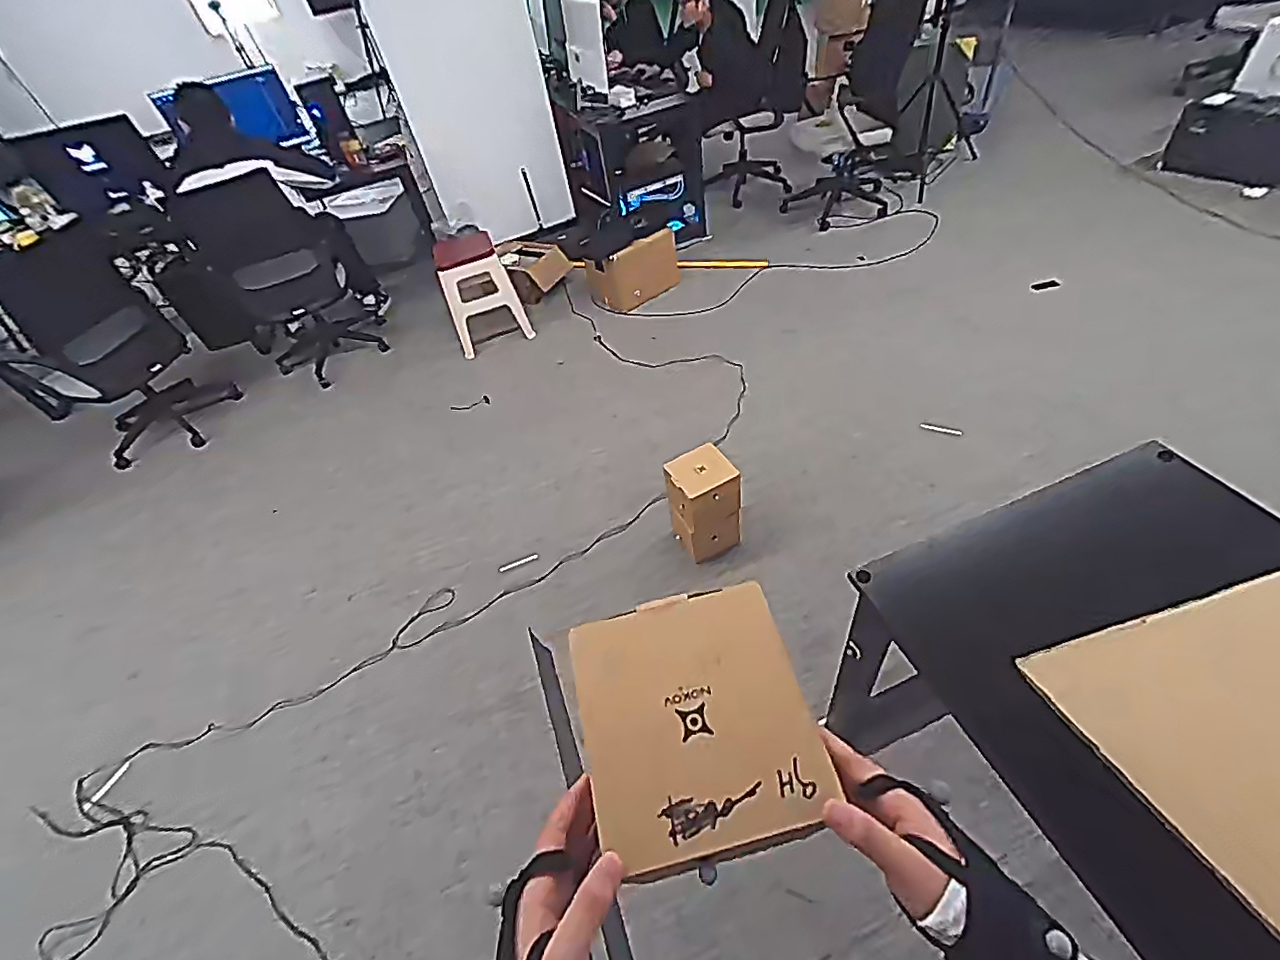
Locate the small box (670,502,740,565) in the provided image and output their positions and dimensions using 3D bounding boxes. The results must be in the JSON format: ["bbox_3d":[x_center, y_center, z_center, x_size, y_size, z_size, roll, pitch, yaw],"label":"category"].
[{"bbox_3d":[0.215,0.147,1.781,0.179,0.176,0.168,-24,47,-10],"label":"small box"}]

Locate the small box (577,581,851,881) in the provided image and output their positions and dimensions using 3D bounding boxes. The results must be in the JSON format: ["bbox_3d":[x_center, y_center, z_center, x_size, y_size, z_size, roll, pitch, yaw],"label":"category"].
[{"bbox_3d":[0.051,0.217,0.464,0.168,0.176,0.179,-14,52,-2],"label":"small box"}]

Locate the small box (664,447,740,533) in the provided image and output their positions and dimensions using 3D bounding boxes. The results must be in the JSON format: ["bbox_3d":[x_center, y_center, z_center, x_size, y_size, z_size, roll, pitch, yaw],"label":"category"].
[{"bbox_3d":[0.195,0.035,1.666,0.179,0.176,0.168,-26,48,-13],"label":"small box"}]
